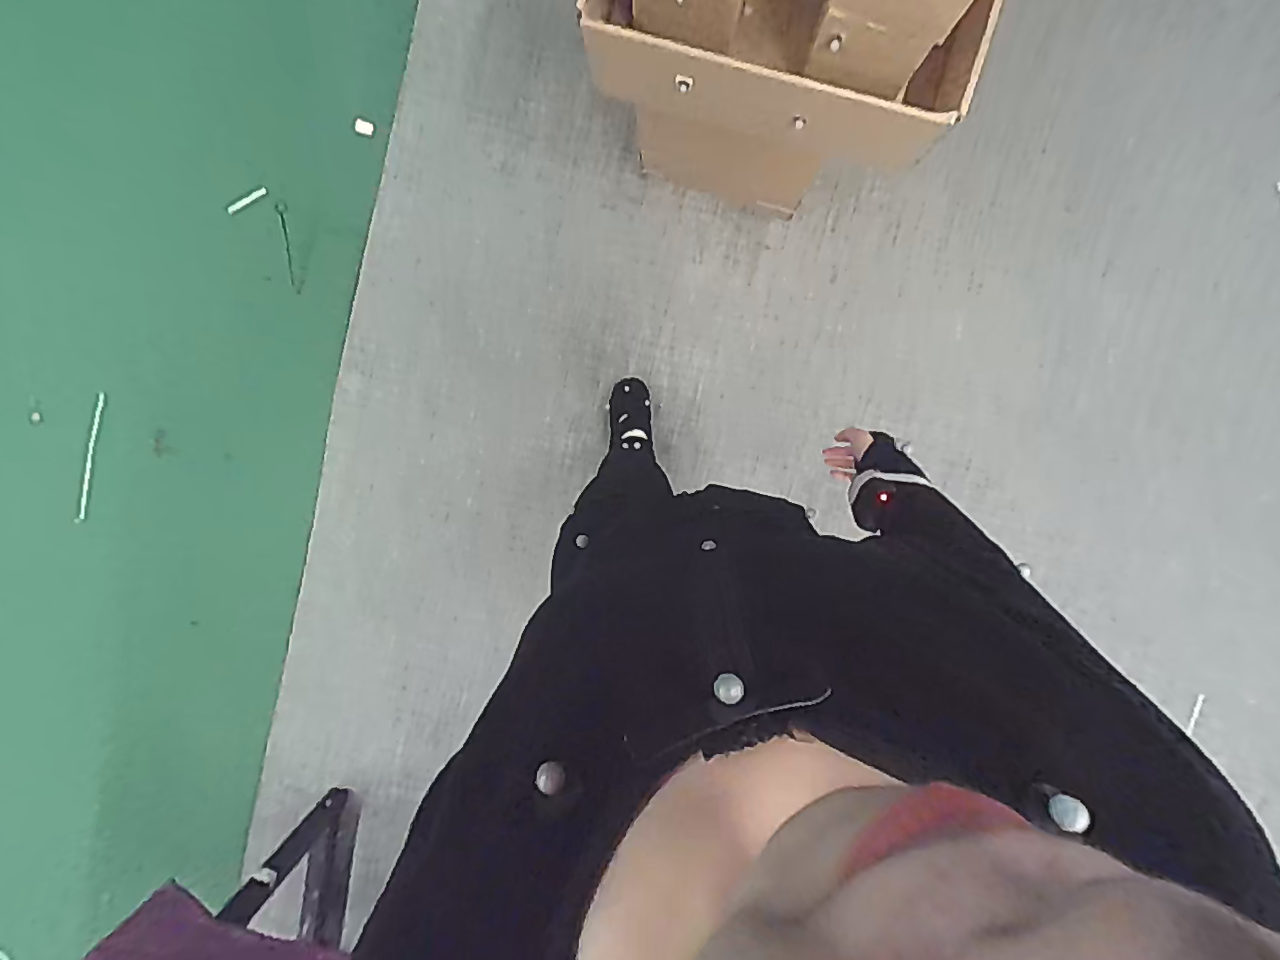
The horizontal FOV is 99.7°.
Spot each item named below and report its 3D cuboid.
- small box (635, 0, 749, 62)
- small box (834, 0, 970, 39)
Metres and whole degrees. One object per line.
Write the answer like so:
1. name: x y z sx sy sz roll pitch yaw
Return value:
1. small box: 0.093 -0.819 0.861 0.179 0.176 0.168 17 95 0
2. small box: 0.375 -0.722 0.692 0.179 0.176 0.168 19 94 0
